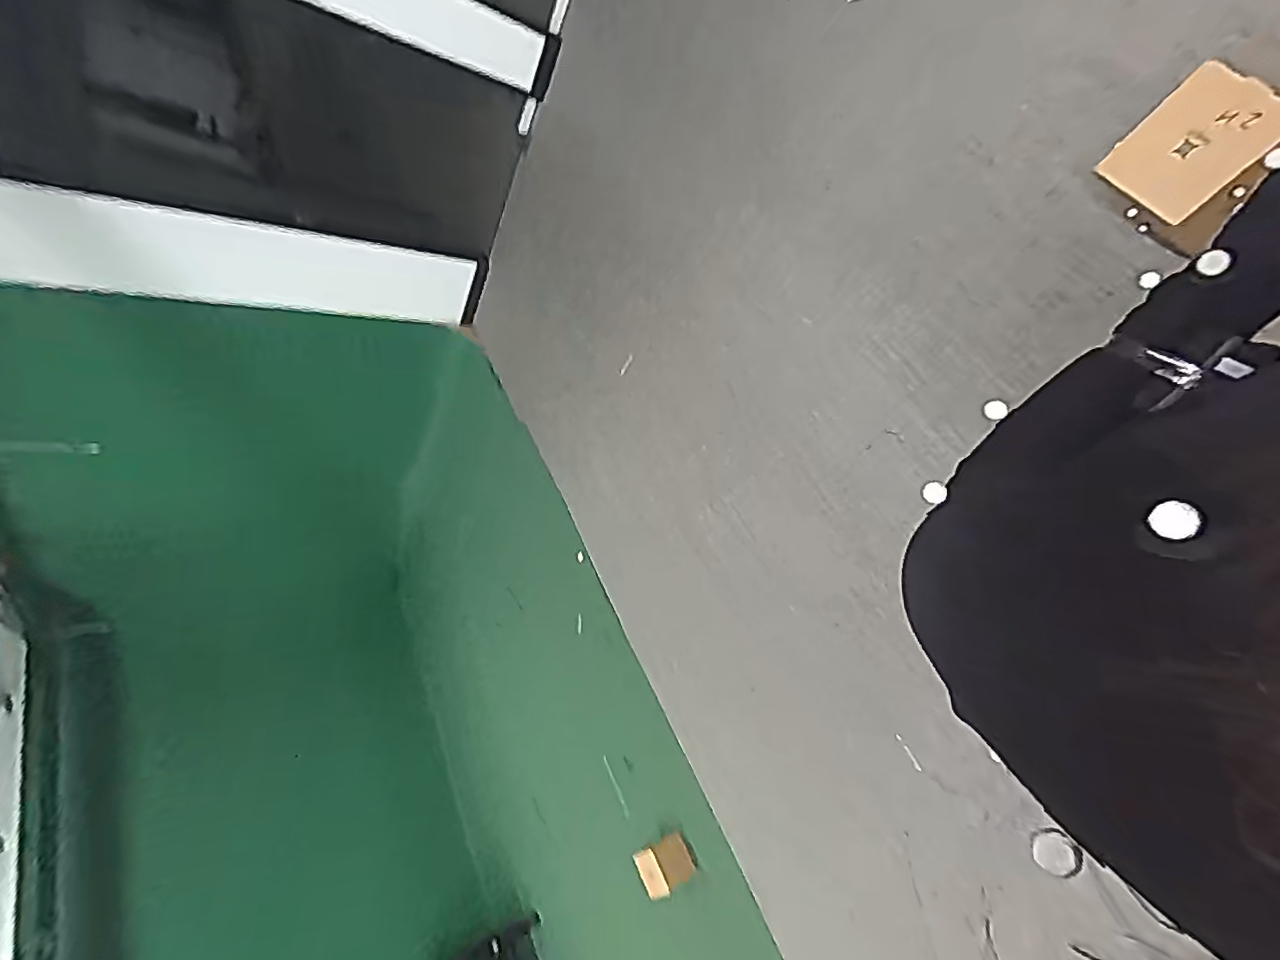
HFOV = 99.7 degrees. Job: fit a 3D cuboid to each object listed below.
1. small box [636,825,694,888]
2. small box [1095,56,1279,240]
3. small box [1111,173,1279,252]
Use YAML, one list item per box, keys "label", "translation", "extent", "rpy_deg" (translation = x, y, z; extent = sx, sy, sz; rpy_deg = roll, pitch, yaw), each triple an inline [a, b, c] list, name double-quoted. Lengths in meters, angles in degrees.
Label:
- label: "small box"
  translation: [0.117, 1.663, 2.393]
  extent: [0.168, 0.176, 0.179]
  rpy_deg: [59, 135, 25]
- label: "small box"
  translation: [0.901, -0.520, 0.873]
  extent: [0.179, 0.176, 0.168]
  rpy_deg: [-51, 58, 41]
- label: "small box"
  translation: [1.024, -0.538, 0.982]
  extent: [0.168, 0.176, 0.179]
  rpy_deg: [-52, 56, 41]
